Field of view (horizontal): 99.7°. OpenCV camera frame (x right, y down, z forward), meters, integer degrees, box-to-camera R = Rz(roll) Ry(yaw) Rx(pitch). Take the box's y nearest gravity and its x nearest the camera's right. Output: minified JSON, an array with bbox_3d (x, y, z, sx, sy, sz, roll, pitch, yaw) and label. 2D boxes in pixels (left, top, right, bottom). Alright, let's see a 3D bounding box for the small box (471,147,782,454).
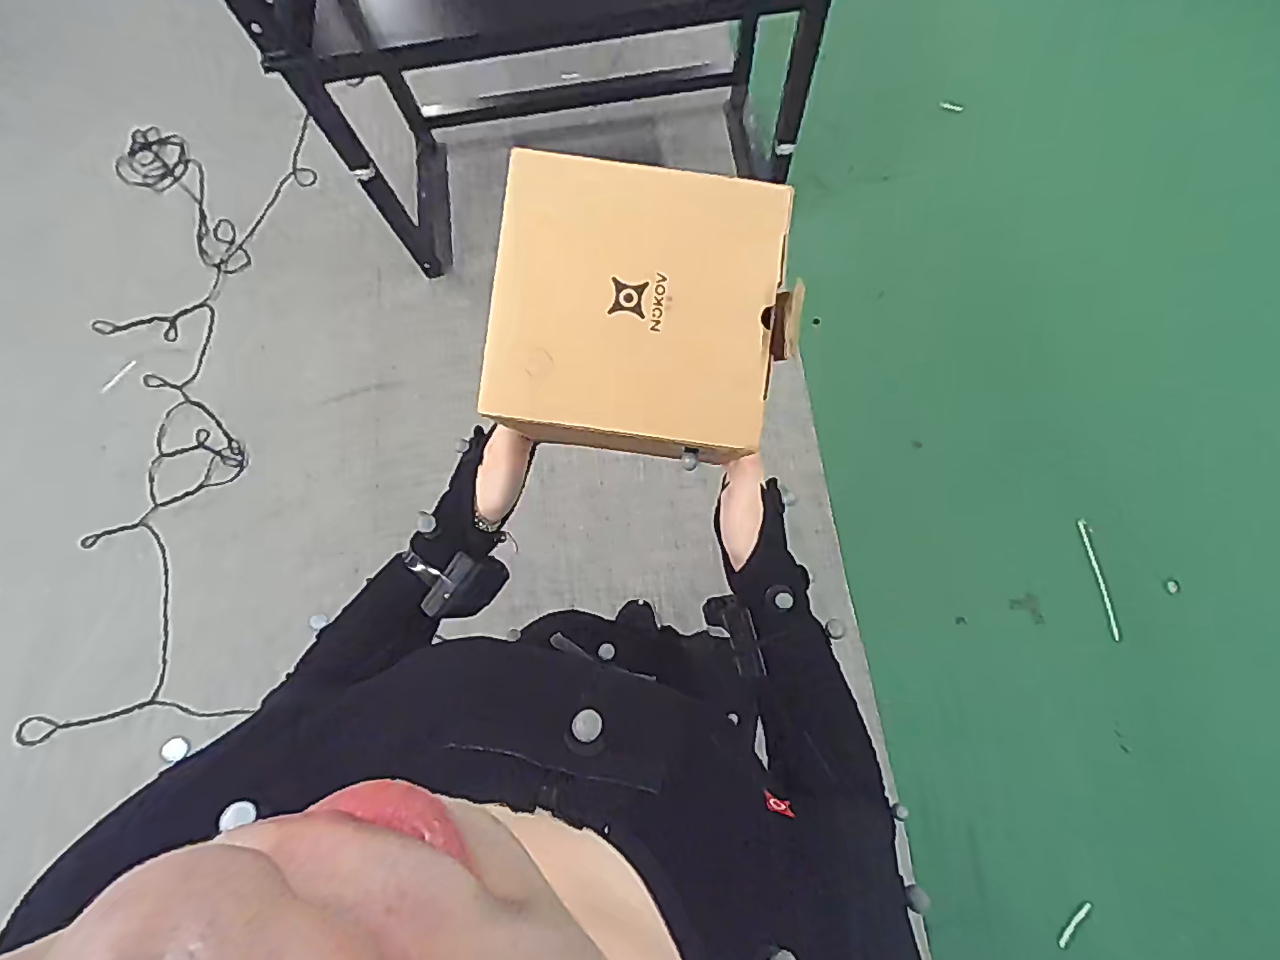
[{"bbox_3d":[-0.009,-0.112,0.410,0.179,0.176,0.168,7,90,-1],"label":"small box"}]
